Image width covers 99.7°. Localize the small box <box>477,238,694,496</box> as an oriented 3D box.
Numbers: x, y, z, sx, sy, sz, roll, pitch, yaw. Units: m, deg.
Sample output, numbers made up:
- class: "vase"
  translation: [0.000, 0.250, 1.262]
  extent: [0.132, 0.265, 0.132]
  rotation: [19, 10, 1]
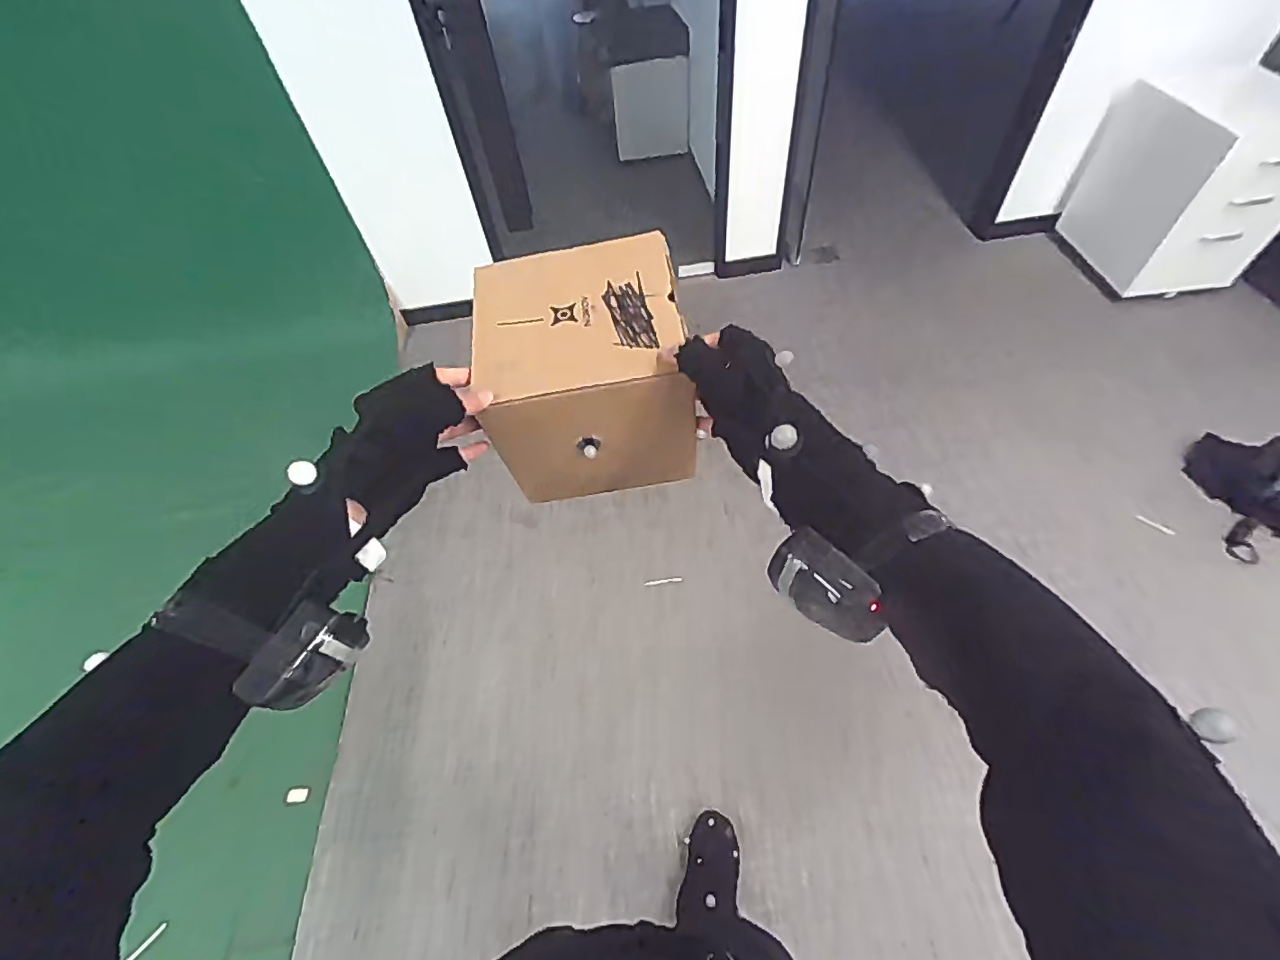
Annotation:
- class: "small box"
  translation: [-0.044, -0.101, 0.533]
  extent: [0.179, 0.176, 0.168]
  rotation: [-10, 60, 3]
